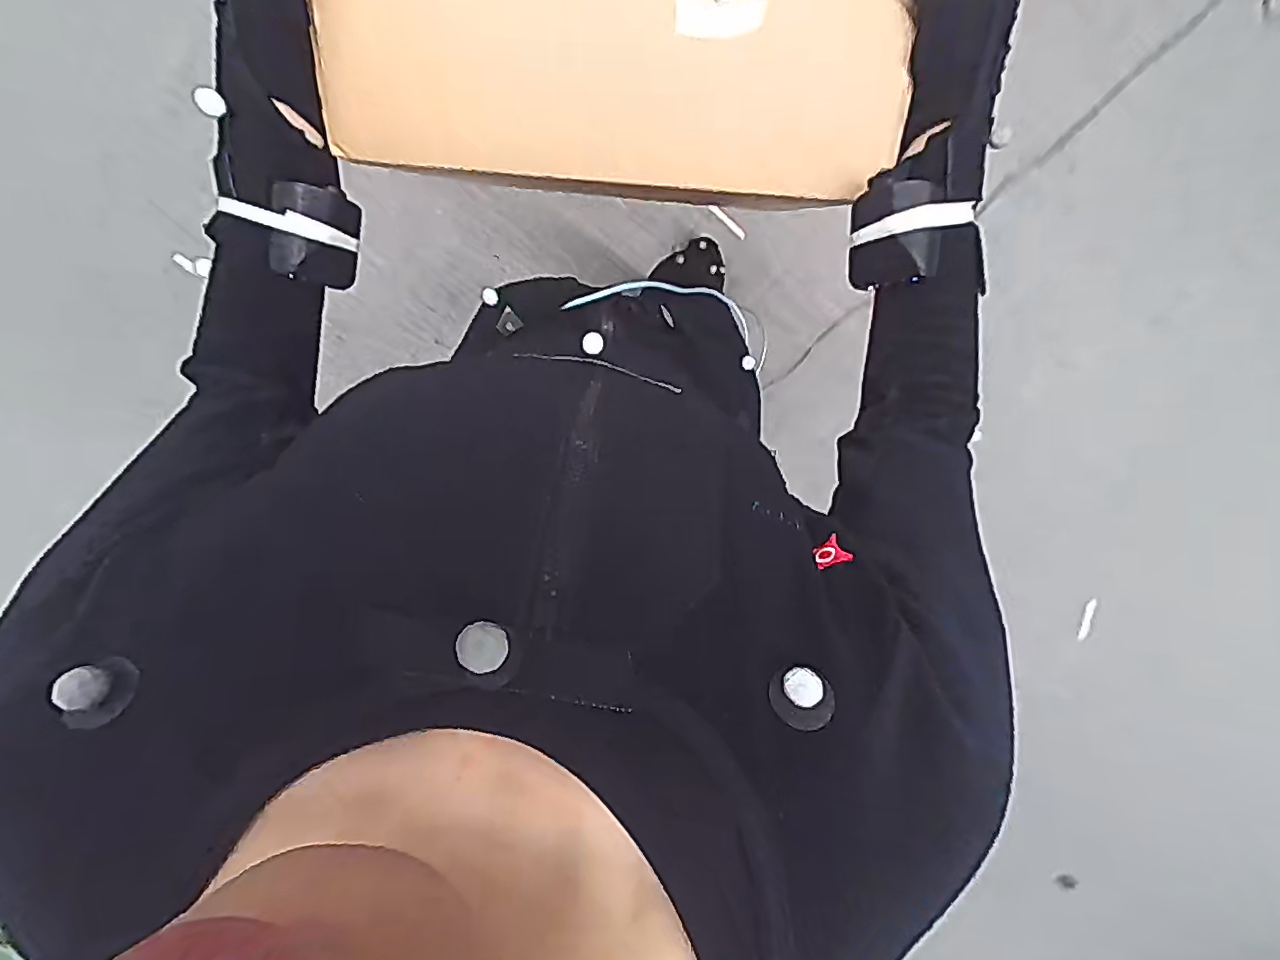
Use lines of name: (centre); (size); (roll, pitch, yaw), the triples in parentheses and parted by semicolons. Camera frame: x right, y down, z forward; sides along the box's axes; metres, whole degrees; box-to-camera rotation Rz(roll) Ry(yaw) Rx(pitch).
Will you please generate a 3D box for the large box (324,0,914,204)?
large box: (-0.011, -0.428, 0.476); (0.408, 0.320, 0.320); (4, 117, 0)
